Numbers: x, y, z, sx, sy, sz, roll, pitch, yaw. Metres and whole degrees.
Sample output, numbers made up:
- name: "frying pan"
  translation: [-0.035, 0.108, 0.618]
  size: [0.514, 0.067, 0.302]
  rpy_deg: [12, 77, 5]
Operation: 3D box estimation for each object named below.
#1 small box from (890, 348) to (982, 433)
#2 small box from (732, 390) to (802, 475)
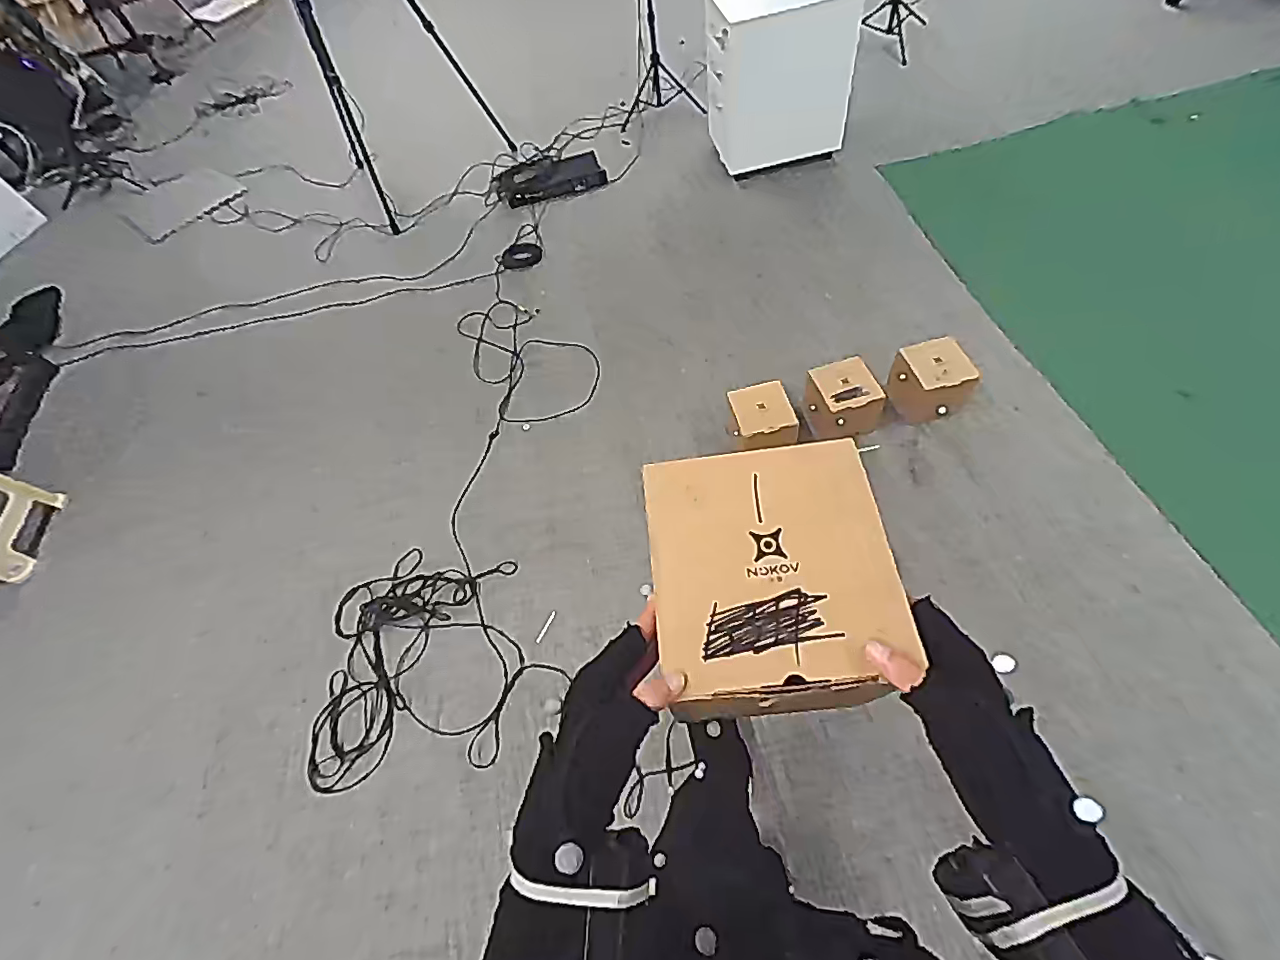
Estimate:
- name: "small box"
  translation: [0.897, -0.272, 1.662]
  size: [0.168, 0.176, 0.179]
  rpy_deg: [-14, 57, 1]
- name: "small box"
  translation: [0.382, -0.143, 1.667]
  size: [0.168, 0.176, 0.179]
  rpy_deg: [-14, 57, 1]
